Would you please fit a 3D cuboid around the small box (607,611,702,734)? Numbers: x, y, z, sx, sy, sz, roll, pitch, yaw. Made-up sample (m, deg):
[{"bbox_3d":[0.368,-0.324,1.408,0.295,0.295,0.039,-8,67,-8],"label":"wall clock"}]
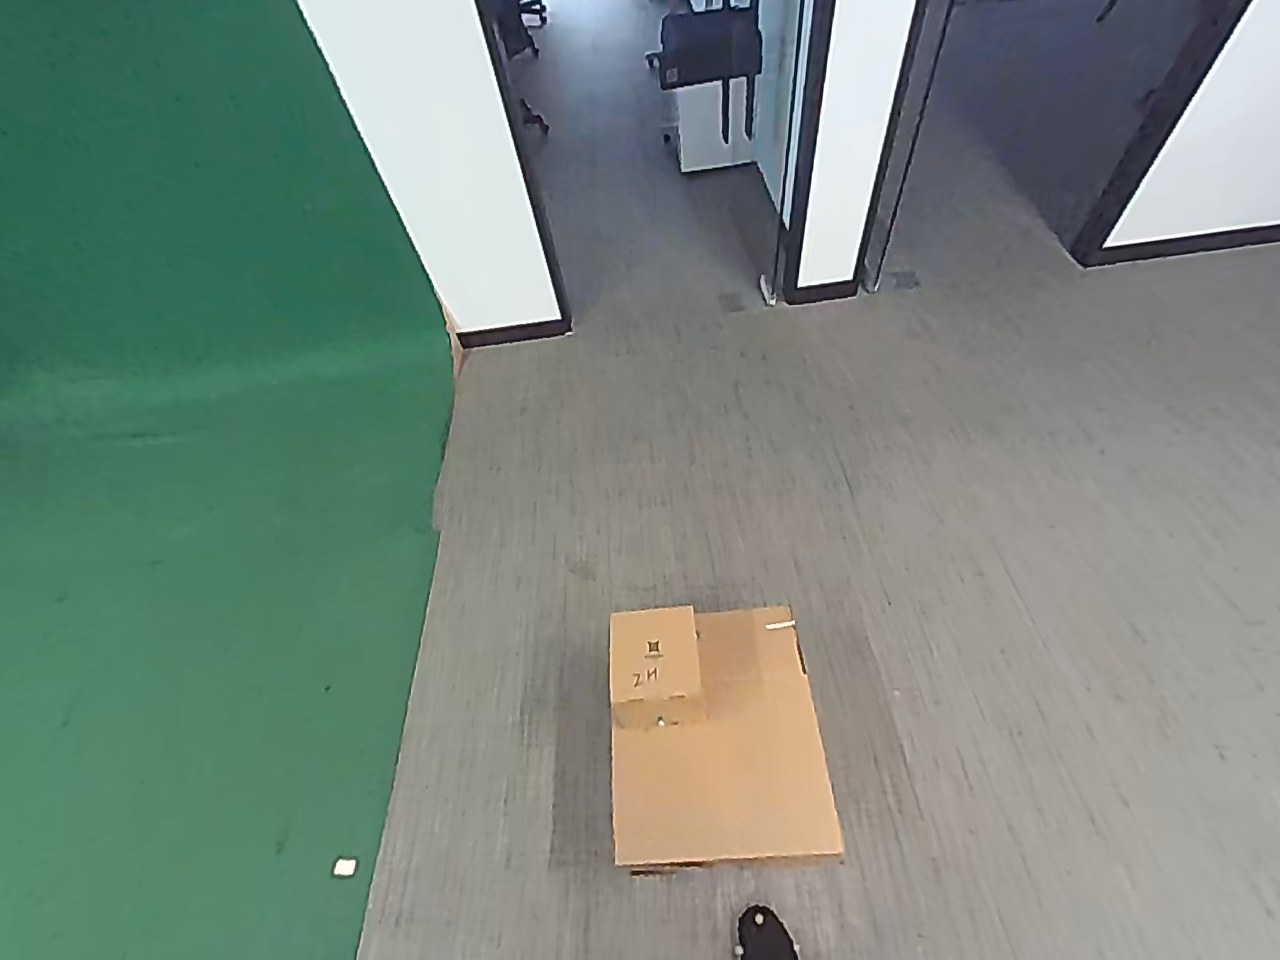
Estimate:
[{"bbox_3d":[0.030,0.381,1.065,0.168,0.176,0.179,-7,49,4],"label":"small box"}]
